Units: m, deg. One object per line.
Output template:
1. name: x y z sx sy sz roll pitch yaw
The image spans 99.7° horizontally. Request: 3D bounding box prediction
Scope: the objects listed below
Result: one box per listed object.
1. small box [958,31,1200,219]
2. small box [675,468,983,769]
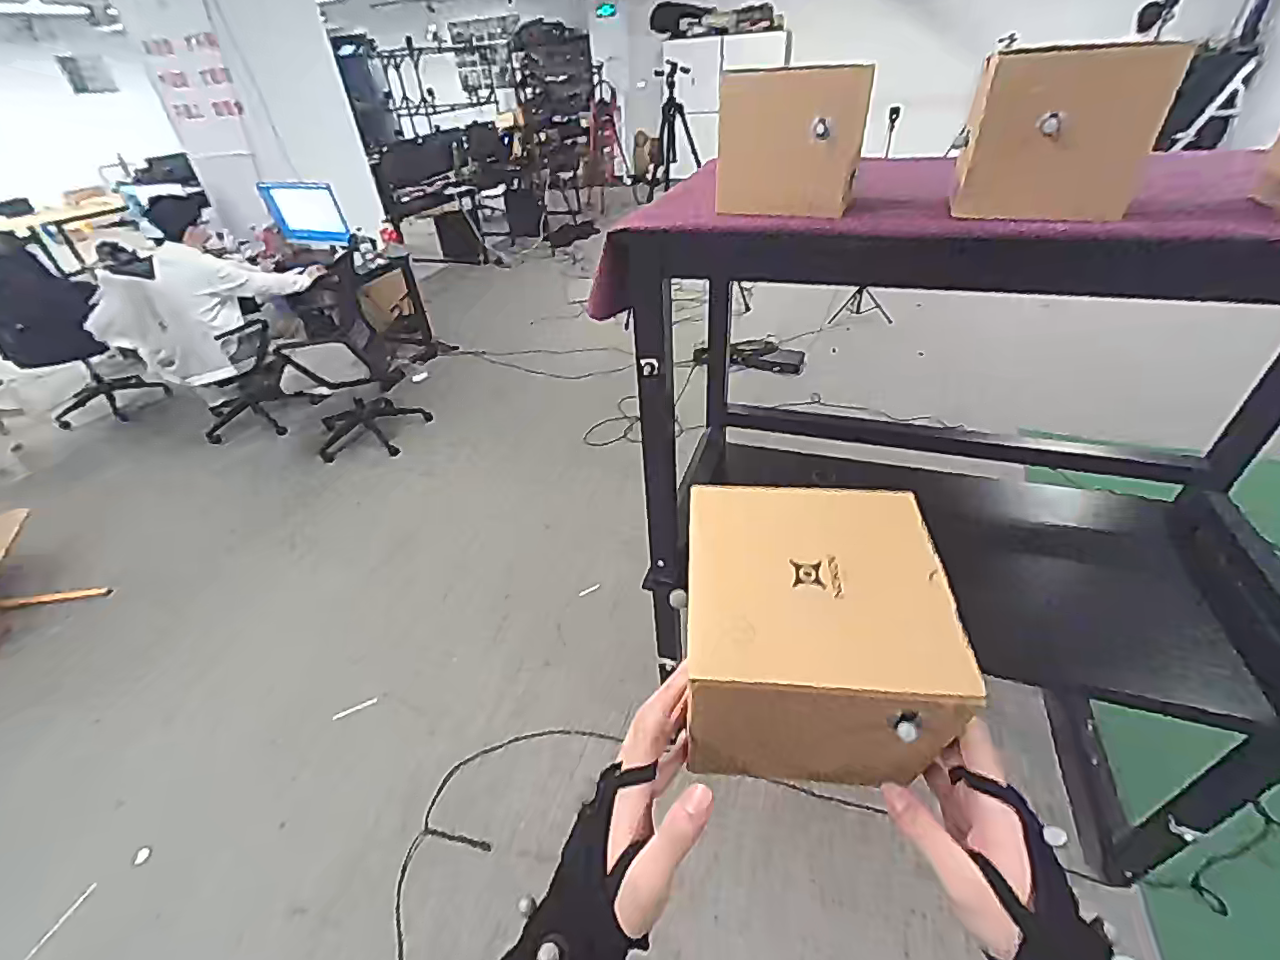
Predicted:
1. small box: 0.501 -0.422 0.656 0.179 0.176 0.168 11 39 21
2. small box: 0.119 0.108 0.422 0.179 0.176 0.168 2 45 5
